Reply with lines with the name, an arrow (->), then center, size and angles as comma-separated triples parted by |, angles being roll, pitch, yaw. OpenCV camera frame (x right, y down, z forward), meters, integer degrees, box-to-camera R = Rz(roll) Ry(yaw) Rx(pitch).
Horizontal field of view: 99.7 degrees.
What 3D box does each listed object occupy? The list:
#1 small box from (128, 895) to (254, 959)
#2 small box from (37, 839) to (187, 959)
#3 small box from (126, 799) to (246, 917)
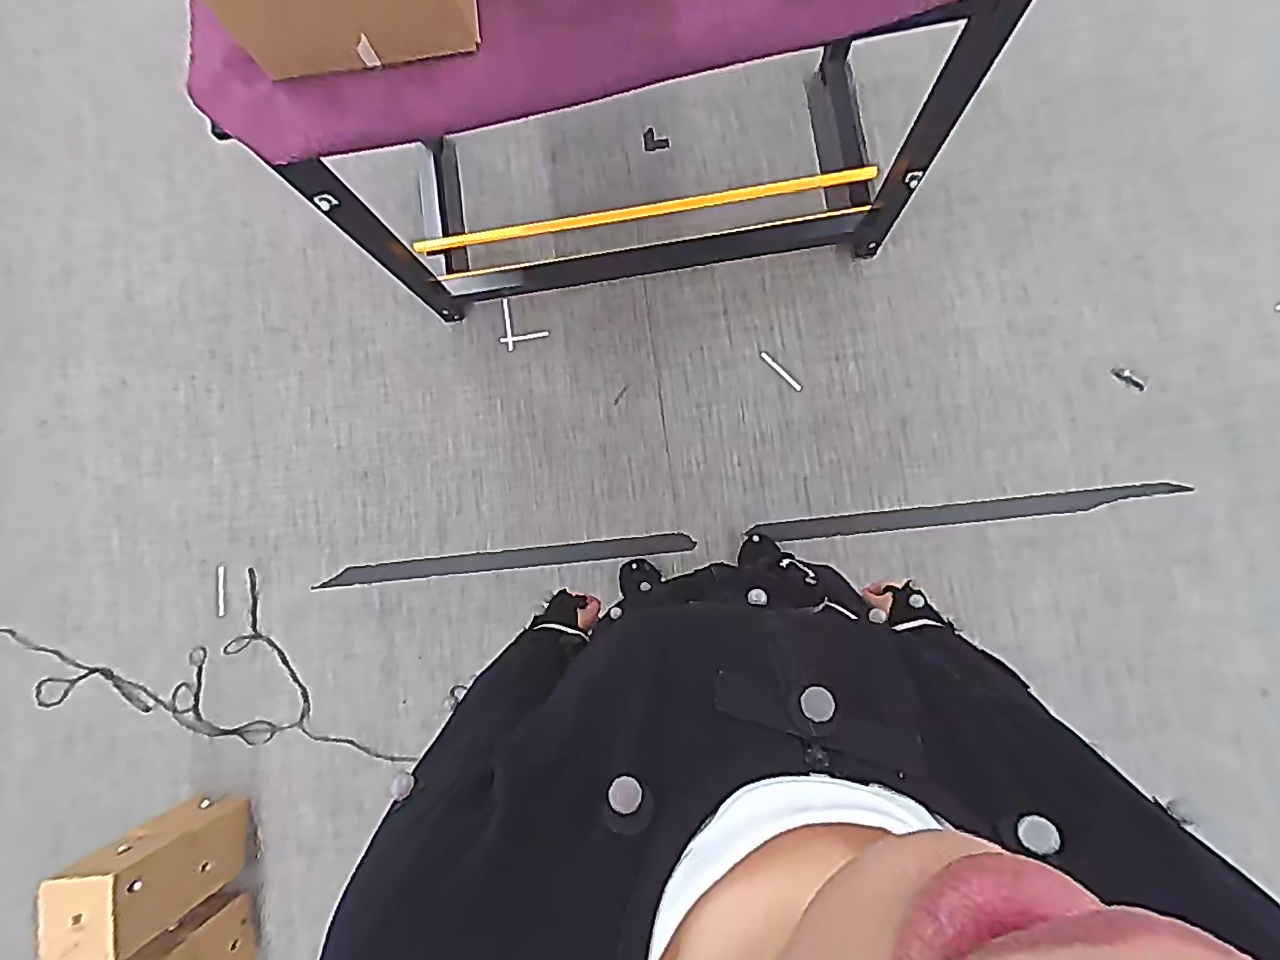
small box -> -1.077, 1.146, 1.296 | 0.179, 0.176, 0.168 | -14, 83, 3
small box -> -1.118, 0.899, 1.157 | 0.168, 0.176, 0.179 | -8, 84, 5
small box -> -1.105, 0.915, 1.320 | 0.168, 0.176, 0.179 | -2, 83, 5
